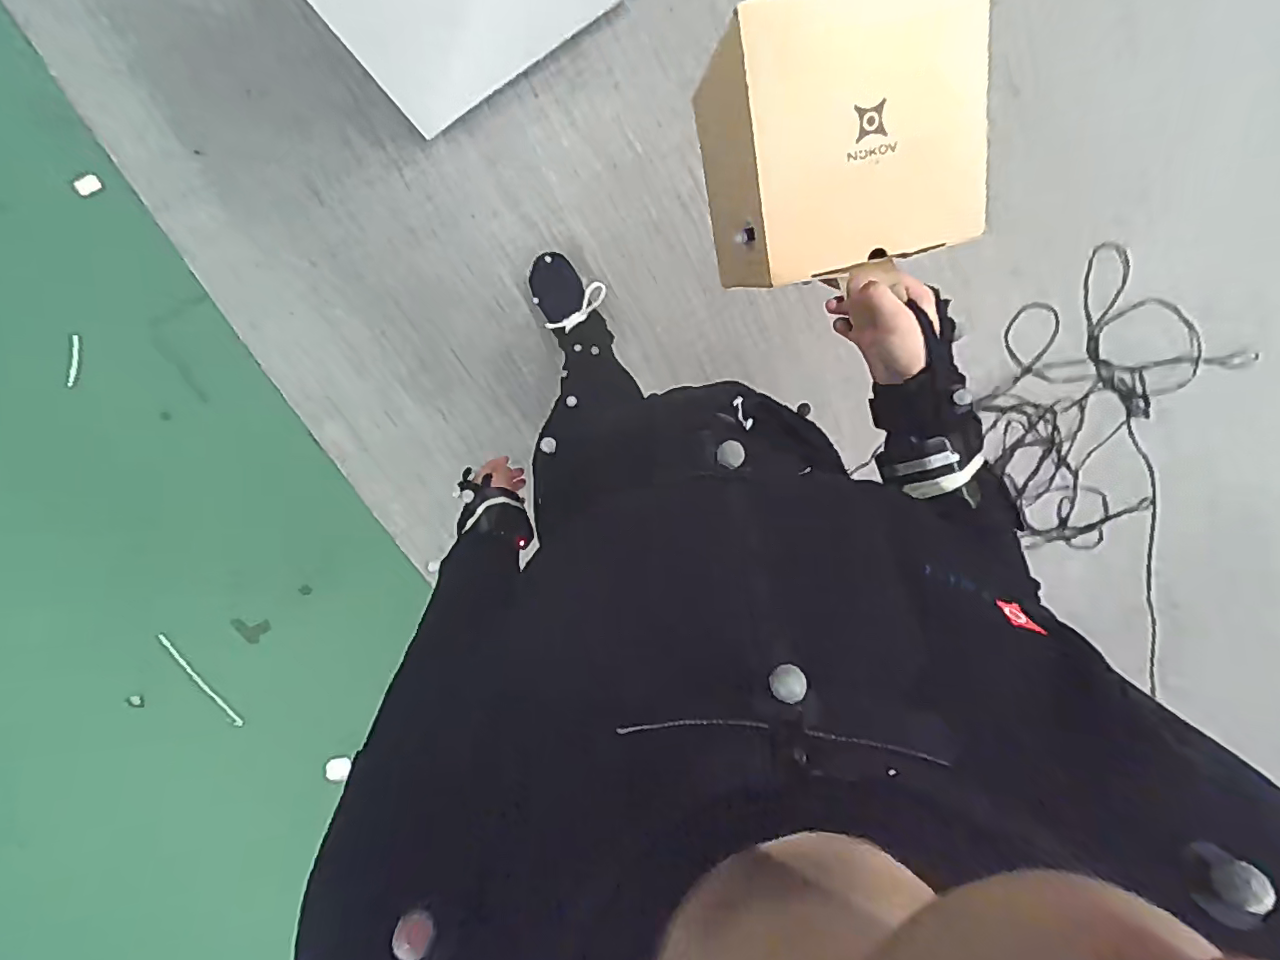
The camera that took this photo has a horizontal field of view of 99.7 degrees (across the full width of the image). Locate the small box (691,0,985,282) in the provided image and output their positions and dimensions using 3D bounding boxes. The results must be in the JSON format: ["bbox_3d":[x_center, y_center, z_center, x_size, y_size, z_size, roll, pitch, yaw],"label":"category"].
[{"bbox_3d":[0.147,-0.268,0.442,0.168,0.176,0.179,-14,112,0],"label":"small box"}]
